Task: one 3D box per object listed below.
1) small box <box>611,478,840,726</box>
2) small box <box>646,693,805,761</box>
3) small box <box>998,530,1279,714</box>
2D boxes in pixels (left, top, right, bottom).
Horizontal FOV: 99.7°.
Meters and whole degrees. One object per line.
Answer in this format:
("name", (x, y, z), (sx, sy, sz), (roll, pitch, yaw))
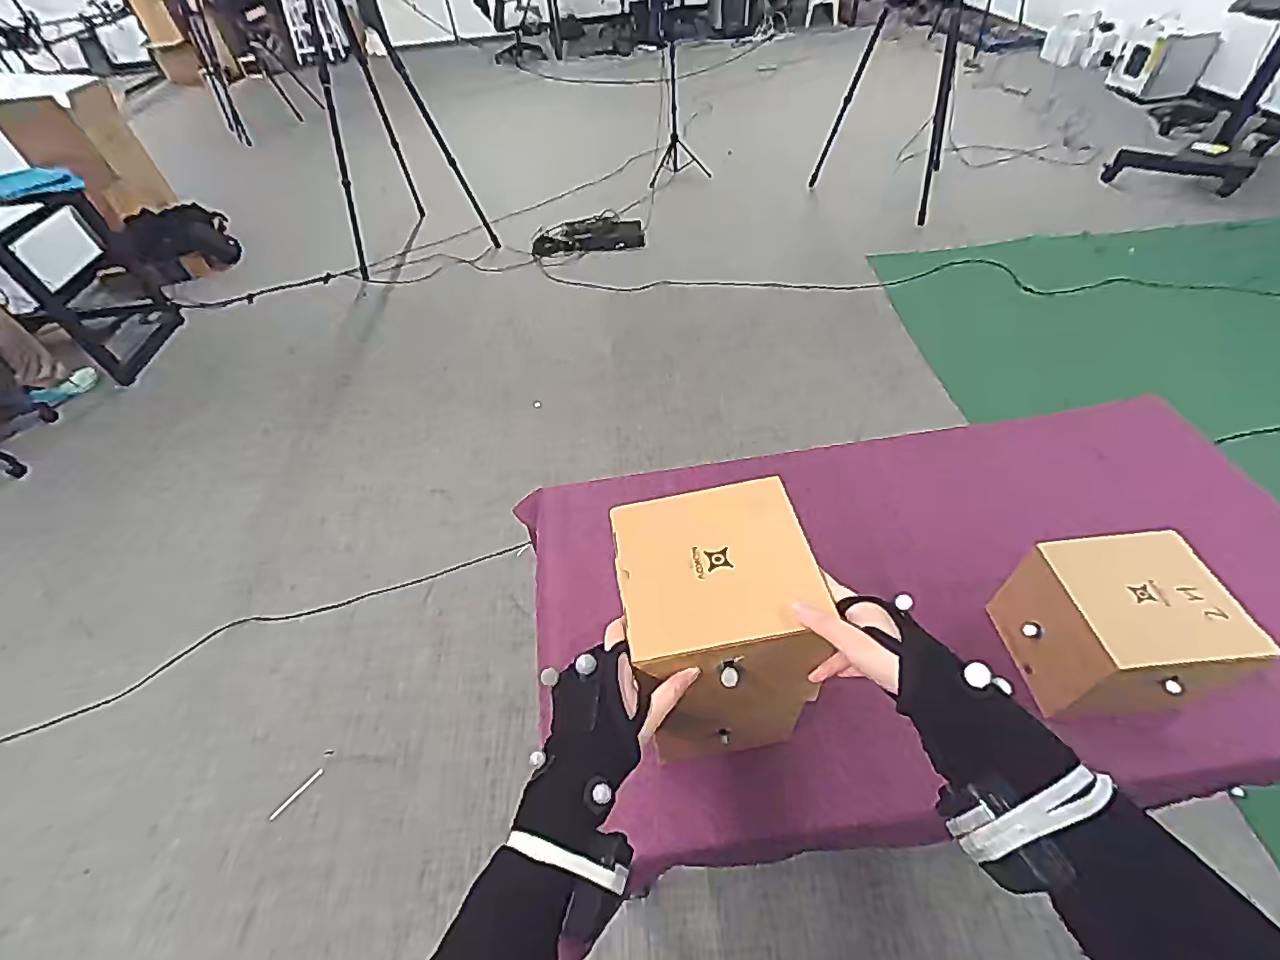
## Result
("small box", (0.076, 0.126, 0.543), (0.179, 0.176, 0.168), (-12, 47, 1))
("small box", (0.089, 0.239, 0.691), (0.179, 0.176, 0.168), (-11, 48, -2))
("small box", (0.593, 0.183, 0.683), (0.179, 0.176, 0.168), (-5, 49, 2))
